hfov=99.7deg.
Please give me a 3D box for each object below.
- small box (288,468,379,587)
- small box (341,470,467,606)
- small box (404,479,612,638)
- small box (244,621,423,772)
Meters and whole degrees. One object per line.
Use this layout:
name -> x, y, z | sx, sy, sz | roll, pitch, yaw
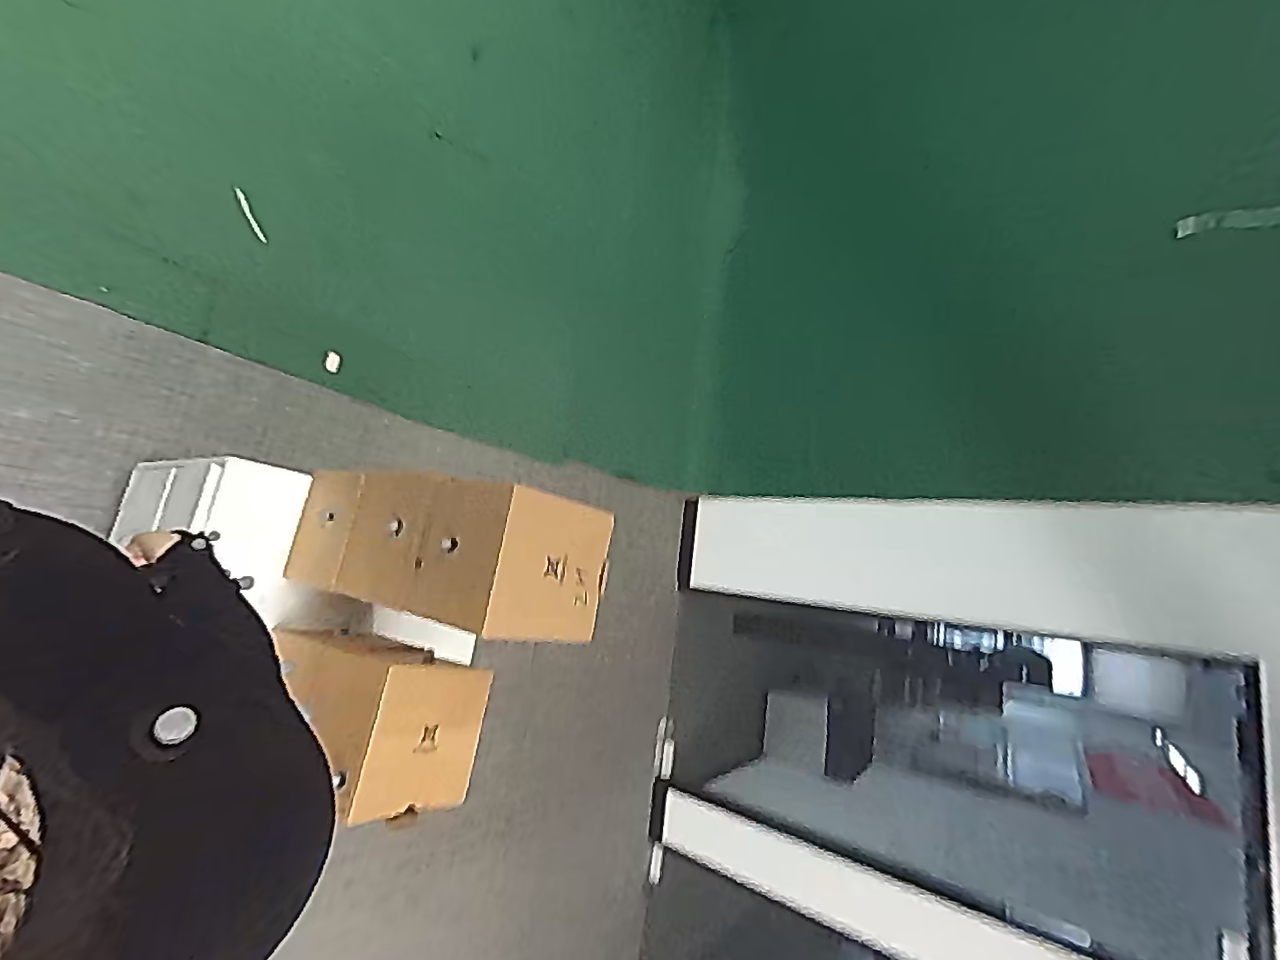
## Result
small box -> -0.435, 0.083, 0.879 | 0.168, 0.176, 0.179 | 25, 73, -51
small box -> -0.300, 0.088, 0.783 | 0.168, 0.176, 0.179 | 24, 73, -51
small box -> -0.166, 0.098, 0.688 | 0.179, 0.176, 0.168 | 24, 73, -51
small box -> -0.473, 0.323, 0.834 | 0.168, 0.176, 0.179 | 26, 68, -51
